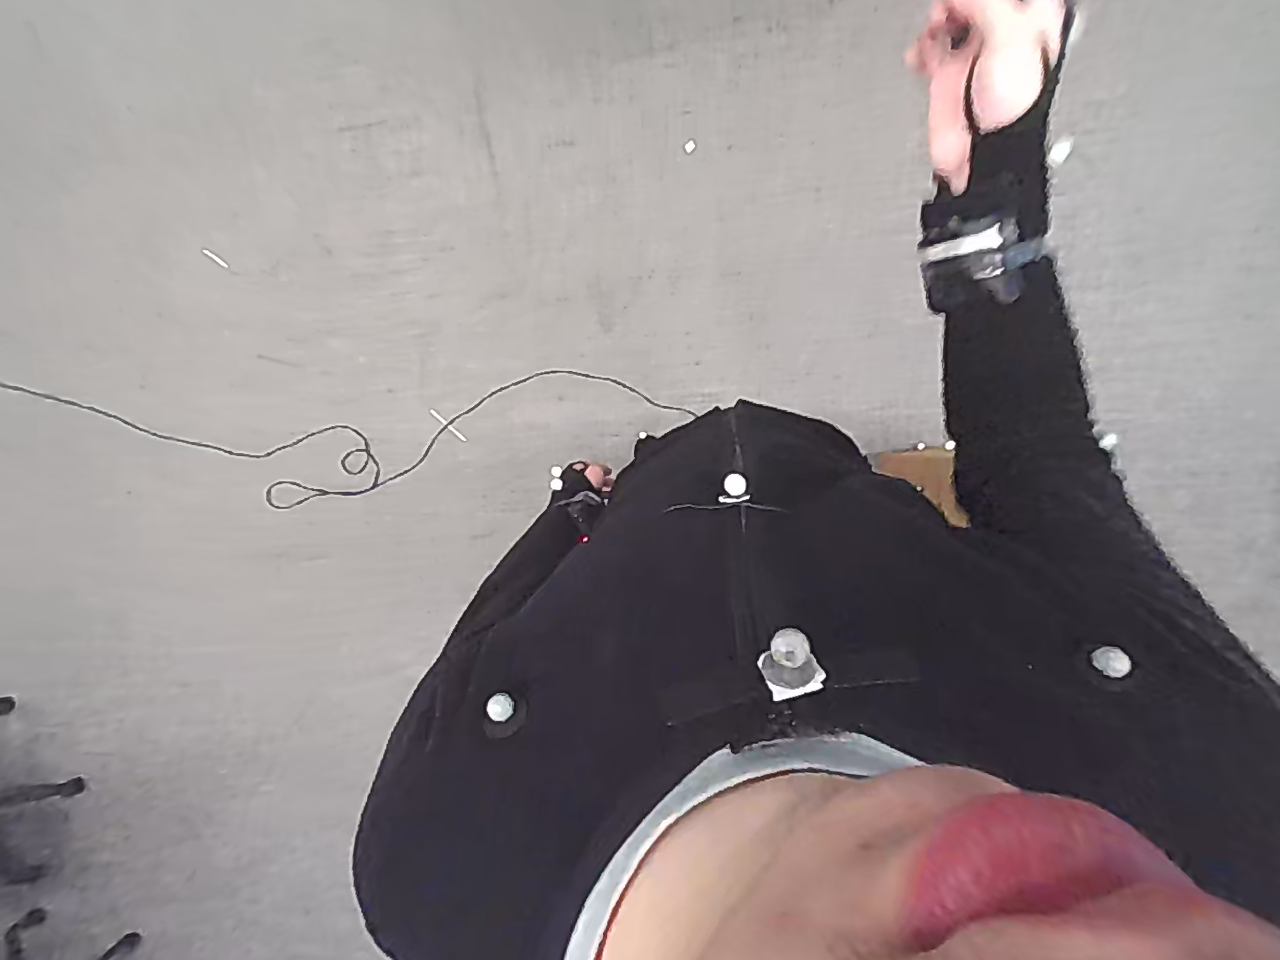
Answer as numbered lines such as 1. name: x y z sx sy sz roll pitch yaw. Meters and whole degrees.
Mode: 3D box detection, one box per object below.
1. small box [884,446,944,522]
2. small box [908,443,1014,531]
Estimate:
1. small box: 0.758 0.005 1.417 0.168 0.176 0.179 -7 92 6
2. small box: 0.742 0.011 1.253 0.168 0.176 0.179 -7 94 6
